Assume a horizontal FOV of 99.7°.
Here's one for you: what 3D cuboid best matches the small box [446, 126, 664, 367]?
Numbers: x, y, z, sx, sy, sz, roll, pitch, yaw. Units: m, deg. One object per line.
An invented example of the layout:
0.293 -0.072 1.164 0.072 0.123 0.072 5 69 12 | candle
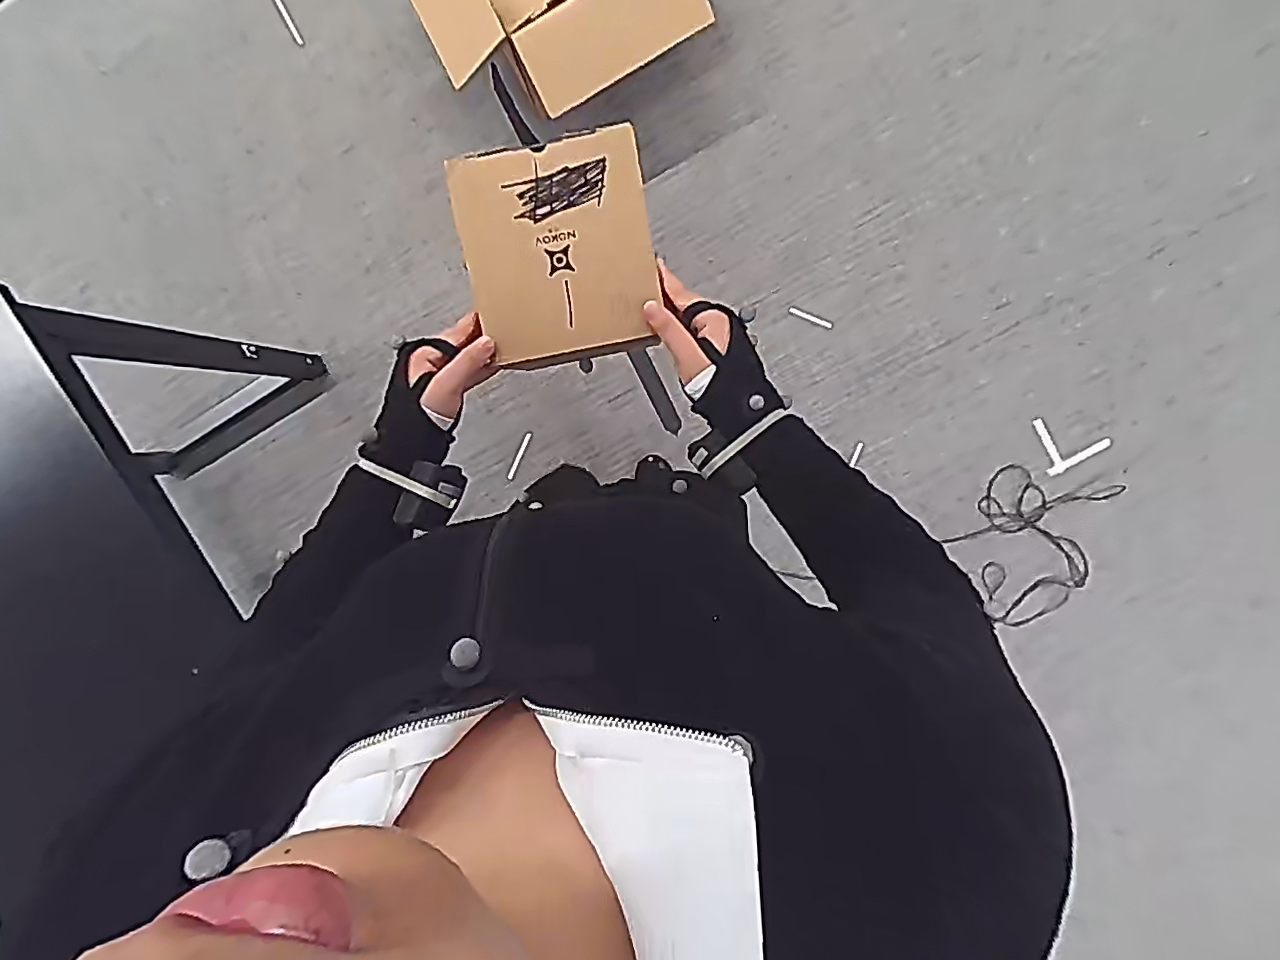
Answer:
-0.074 -0.218 0.554 0.168 0.176 0.179 -11 101 2 | small box
